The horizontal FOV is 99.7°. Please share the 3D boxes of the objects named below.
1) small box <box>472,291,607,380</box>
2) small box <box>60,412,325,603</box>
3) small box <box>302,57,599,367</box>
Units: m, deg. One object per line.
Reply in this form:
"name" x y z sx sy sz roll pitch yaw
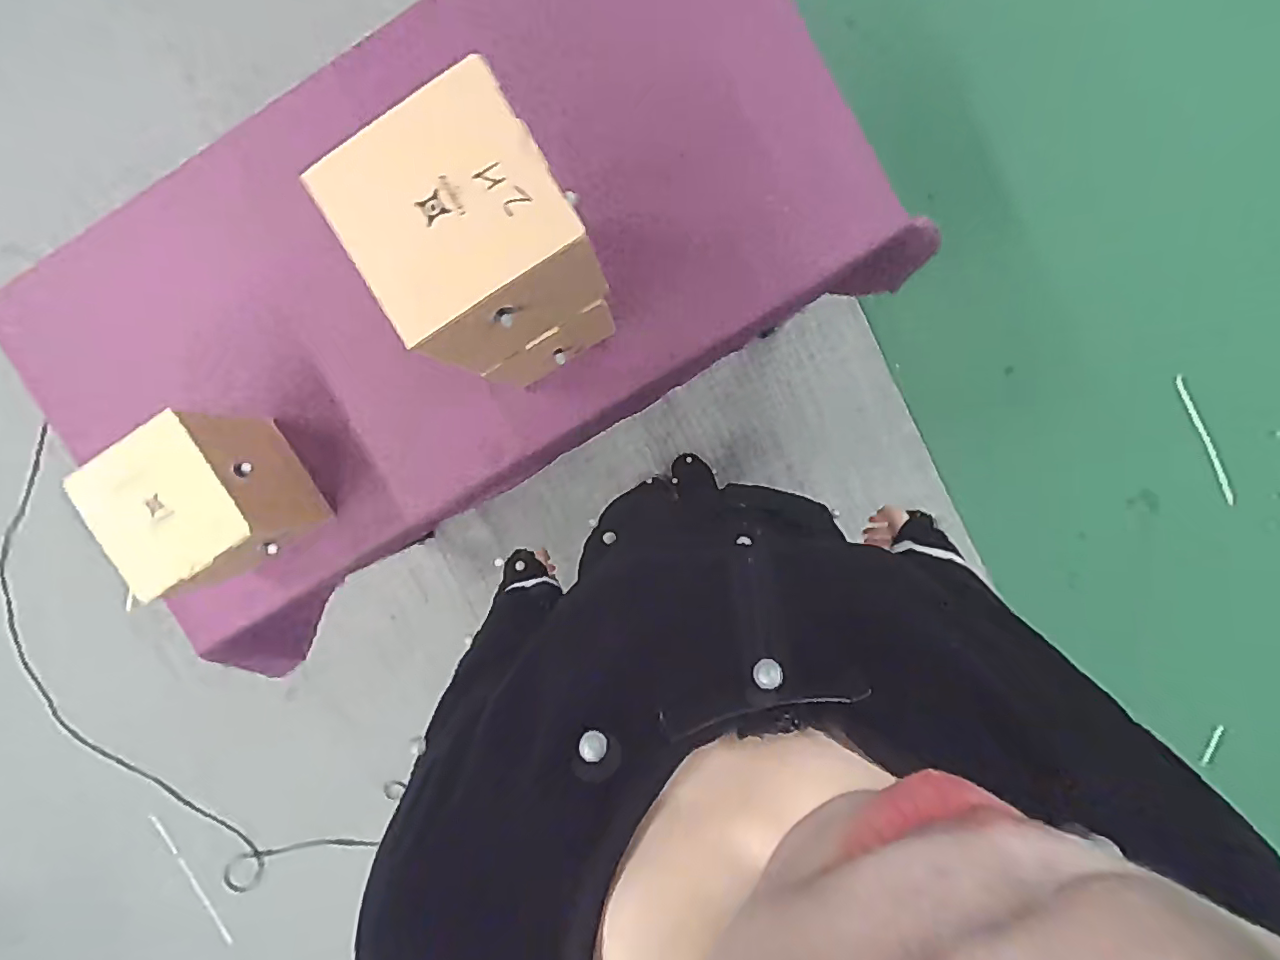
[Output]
"small box" -0.154 -0.238 0.678 0.168 0.176 0.179 -31 93 4
"small box" -0.564 0.028 0.711 0.168 0.176 0.179 -32 92 3
"small box" -0.157 -0.225 0.512 0.179 0.176 0.168 -31 93 4
